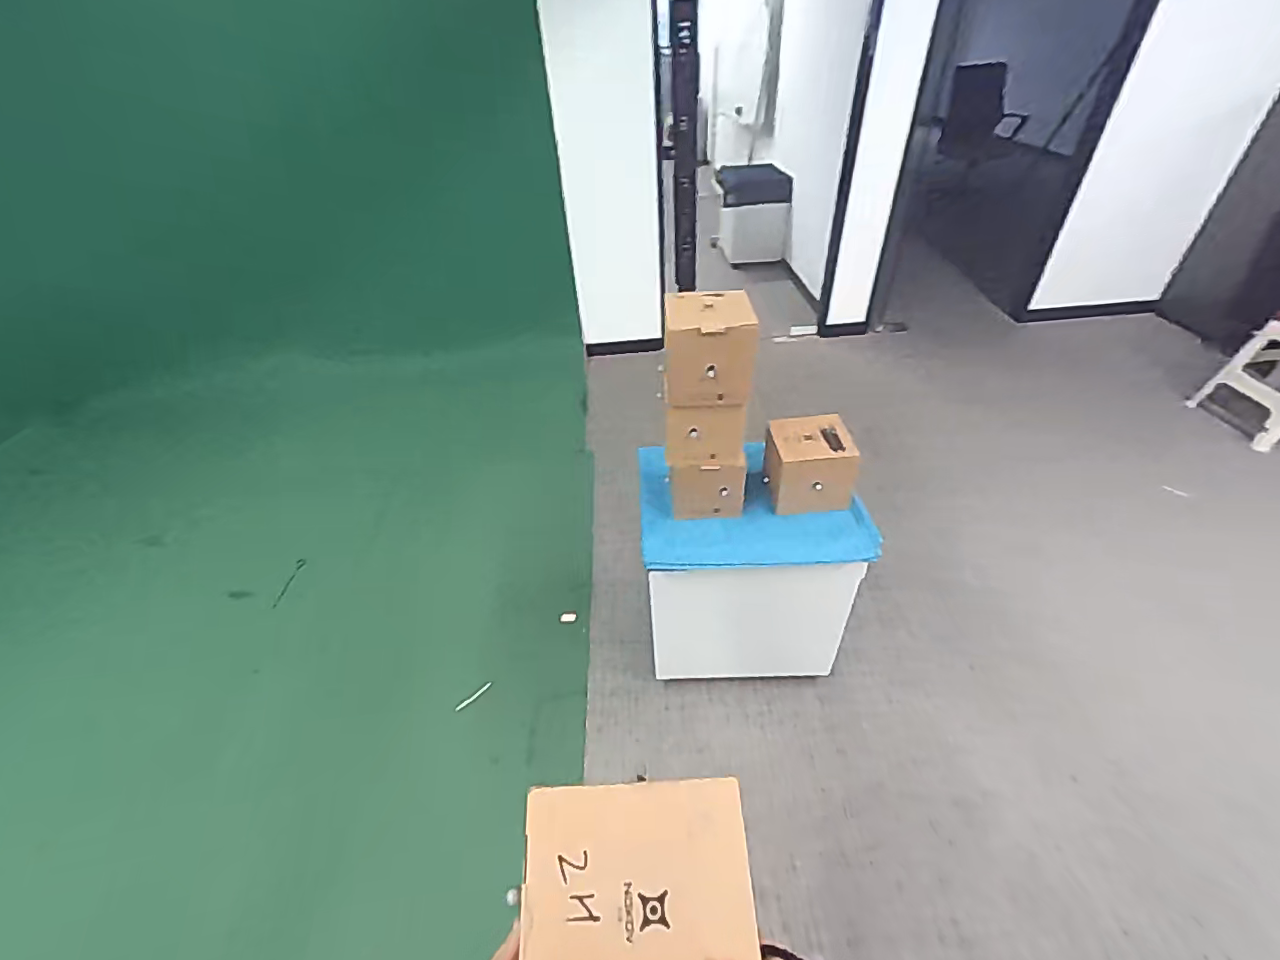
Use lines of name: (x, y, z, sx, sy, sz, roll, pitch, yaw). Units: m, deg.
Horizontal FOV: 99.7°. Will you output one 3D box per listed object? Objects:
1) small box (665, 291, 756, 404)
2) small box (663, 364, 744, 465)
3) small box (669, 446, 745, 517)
small box: (0.134, -0.264, 1.085, 0.168, 0.176, 0.179, -1, 40, 2)
small box: (0.135, -0.145, 1.199, 0.168, 0.176, 0.179, -1, 39, 2)
small box: (0.154, -0.022, 1.303, 0.168, 0.176, 0.179, -1, 40, 1)
